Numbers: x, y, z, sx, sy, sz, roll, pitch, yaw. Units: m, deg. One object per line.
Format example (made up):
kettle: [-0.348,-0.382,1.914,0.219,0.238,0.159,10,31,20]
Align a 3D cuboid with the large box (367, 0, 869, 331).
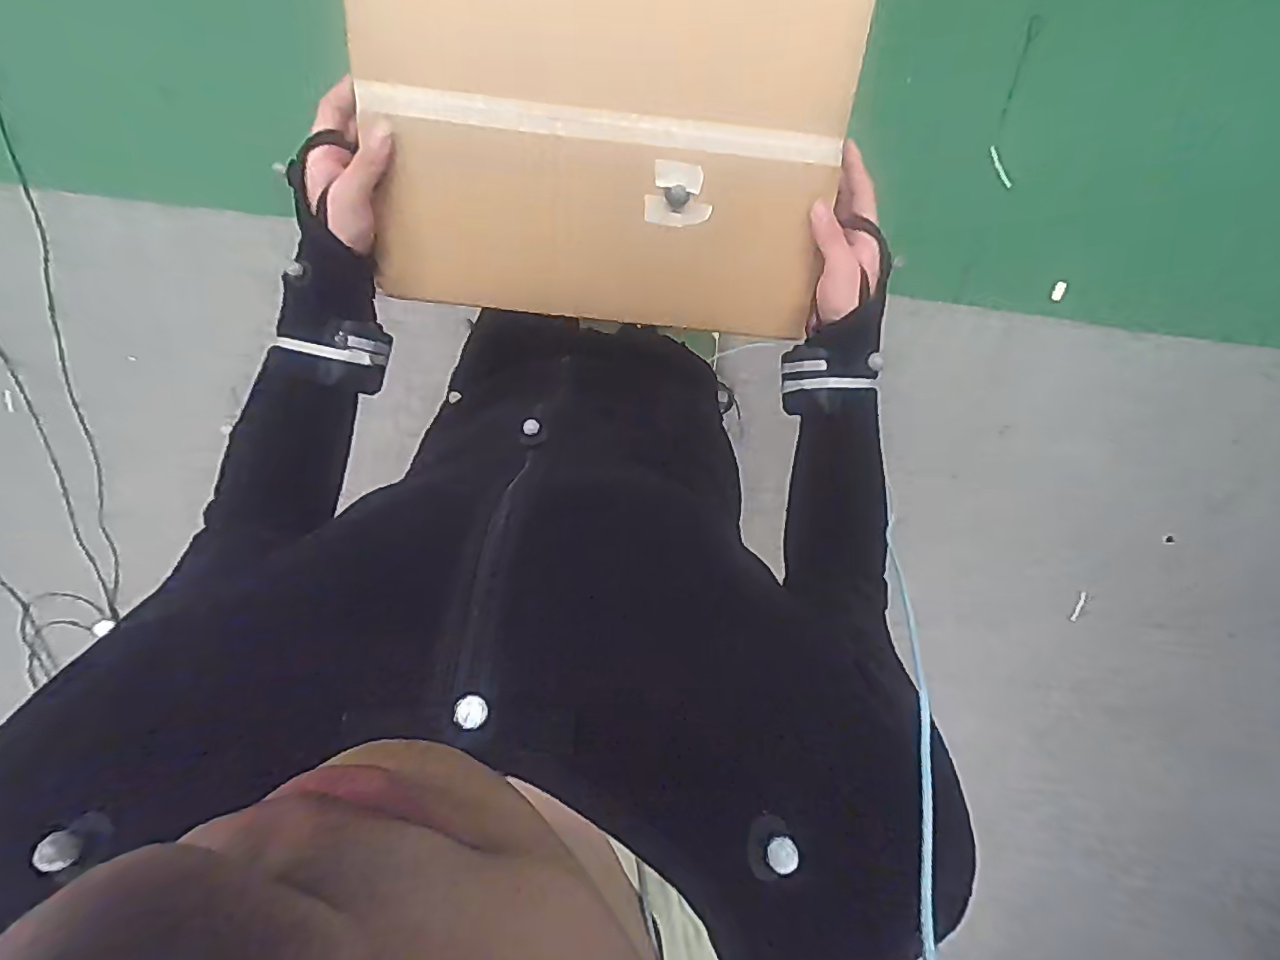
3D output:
large box: [-0.028,-0.359,0.599,0.408,0.320,0.320,5,114,-3]
